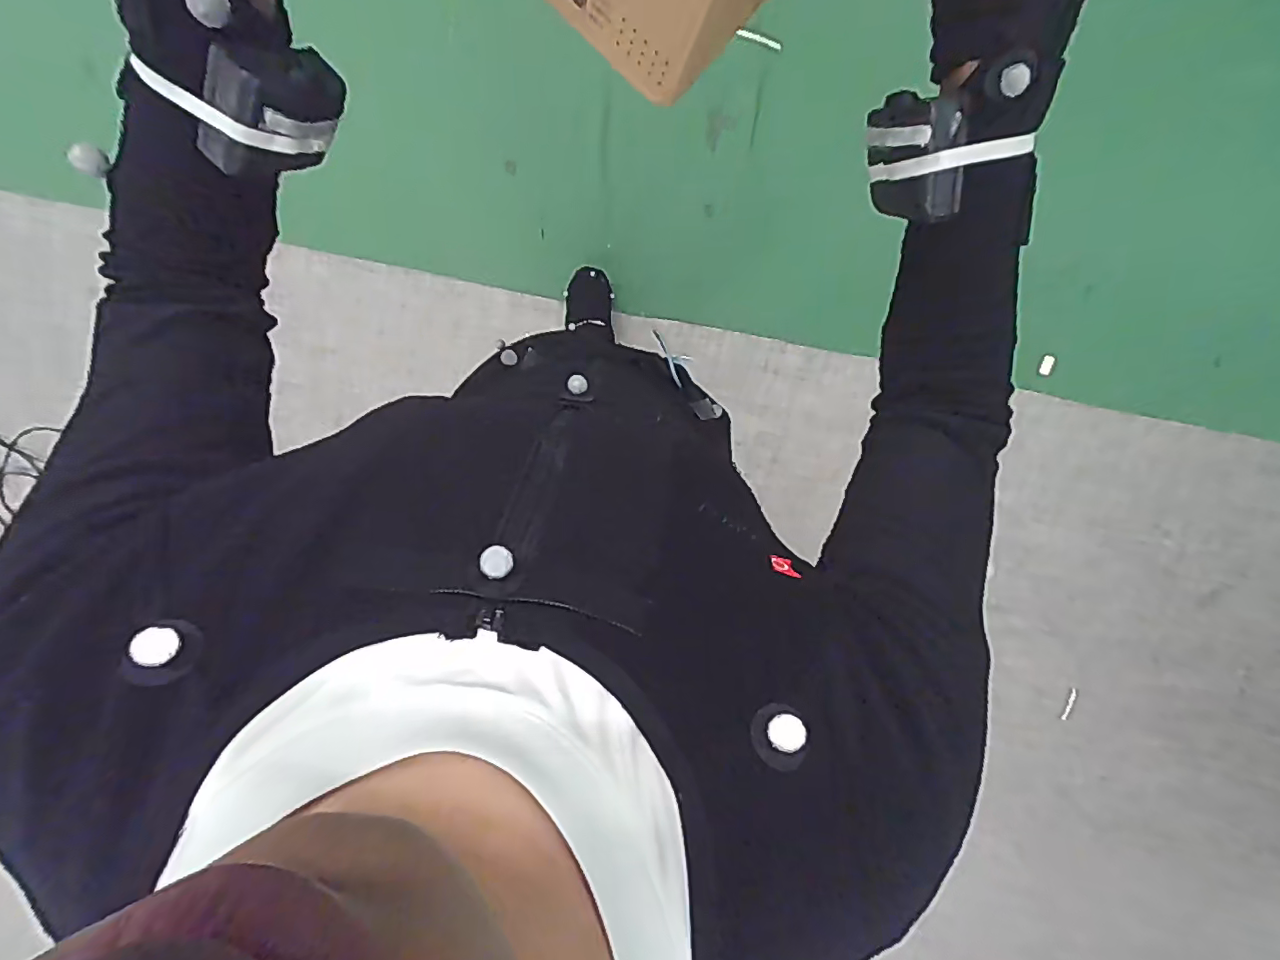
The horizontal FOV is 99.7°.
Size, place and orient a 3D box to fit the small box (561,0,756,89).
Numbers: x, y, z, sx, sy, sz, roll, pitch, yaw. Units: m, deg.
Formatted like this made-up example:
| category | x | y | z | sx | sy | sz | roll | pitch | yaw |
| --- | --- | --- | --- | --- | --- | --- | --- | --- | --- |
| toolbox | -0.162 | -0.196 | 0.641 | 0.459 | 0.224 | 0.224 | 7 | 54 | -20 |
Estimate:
| category | x | y | z | sx | sy | sz | roll | pitch | yaw |
| --- | --- | --- | --- | --- | --- | --- | --- | --- | --- |
| small box | 0.023 | -0.309 | 0.196 | 0.168 | 0.176 | 0.179 | 39 | 82 | -12 |
